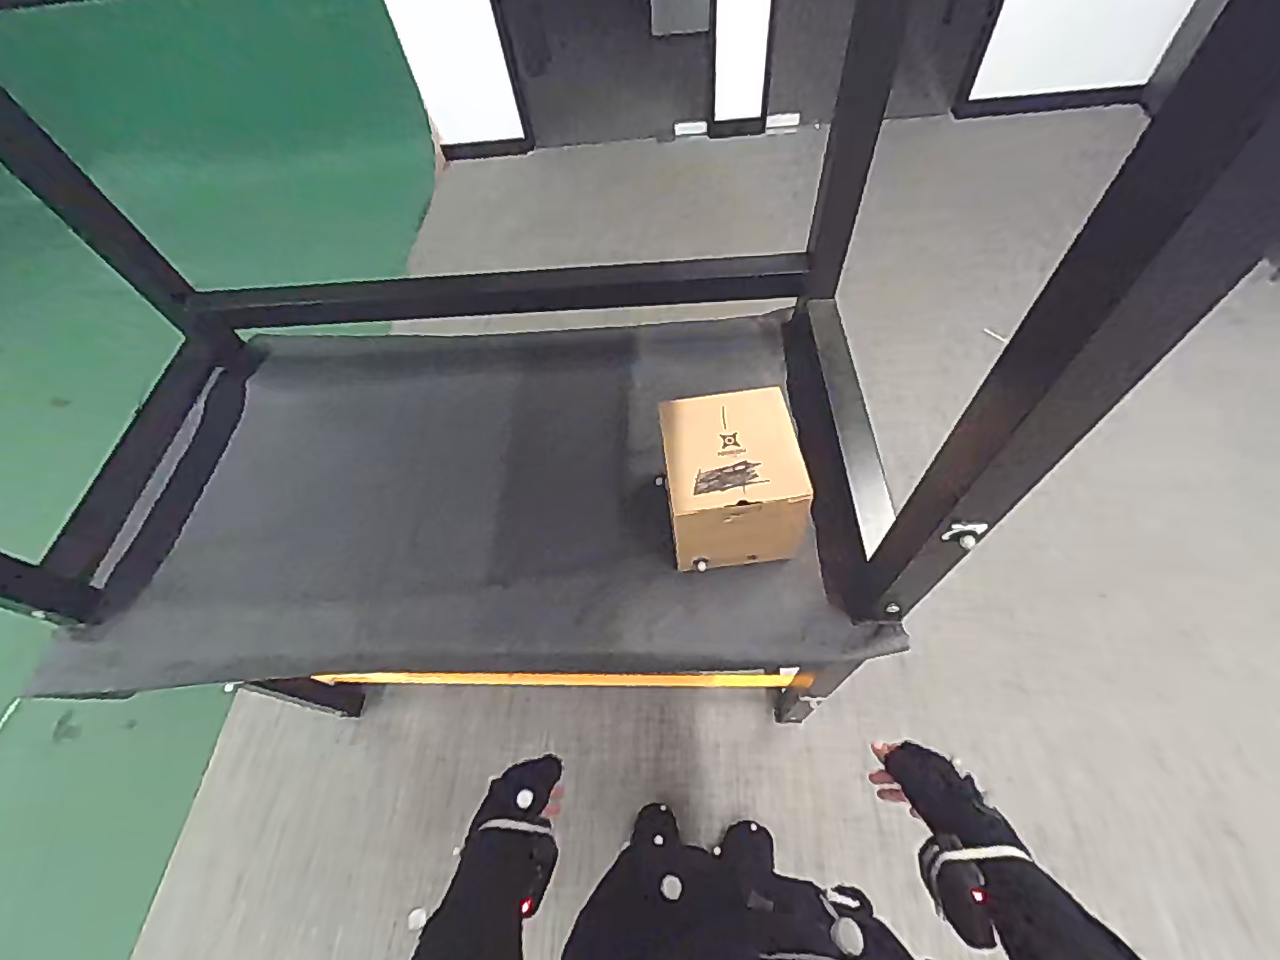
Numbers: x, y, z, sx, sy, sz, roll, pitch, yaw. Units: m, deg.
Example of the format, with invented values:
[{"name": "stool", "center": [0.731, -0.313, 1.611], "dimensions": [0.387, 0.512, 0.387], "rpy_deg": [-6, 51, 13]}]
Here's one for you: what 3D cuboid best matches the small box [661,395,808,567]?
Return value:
[{"name": "small box", "center": [0.123, 0.011, 0.749], "dimensions": [0.168, 0.176, 0.179], "rpy_deg": [-7, 55, 3]}]
